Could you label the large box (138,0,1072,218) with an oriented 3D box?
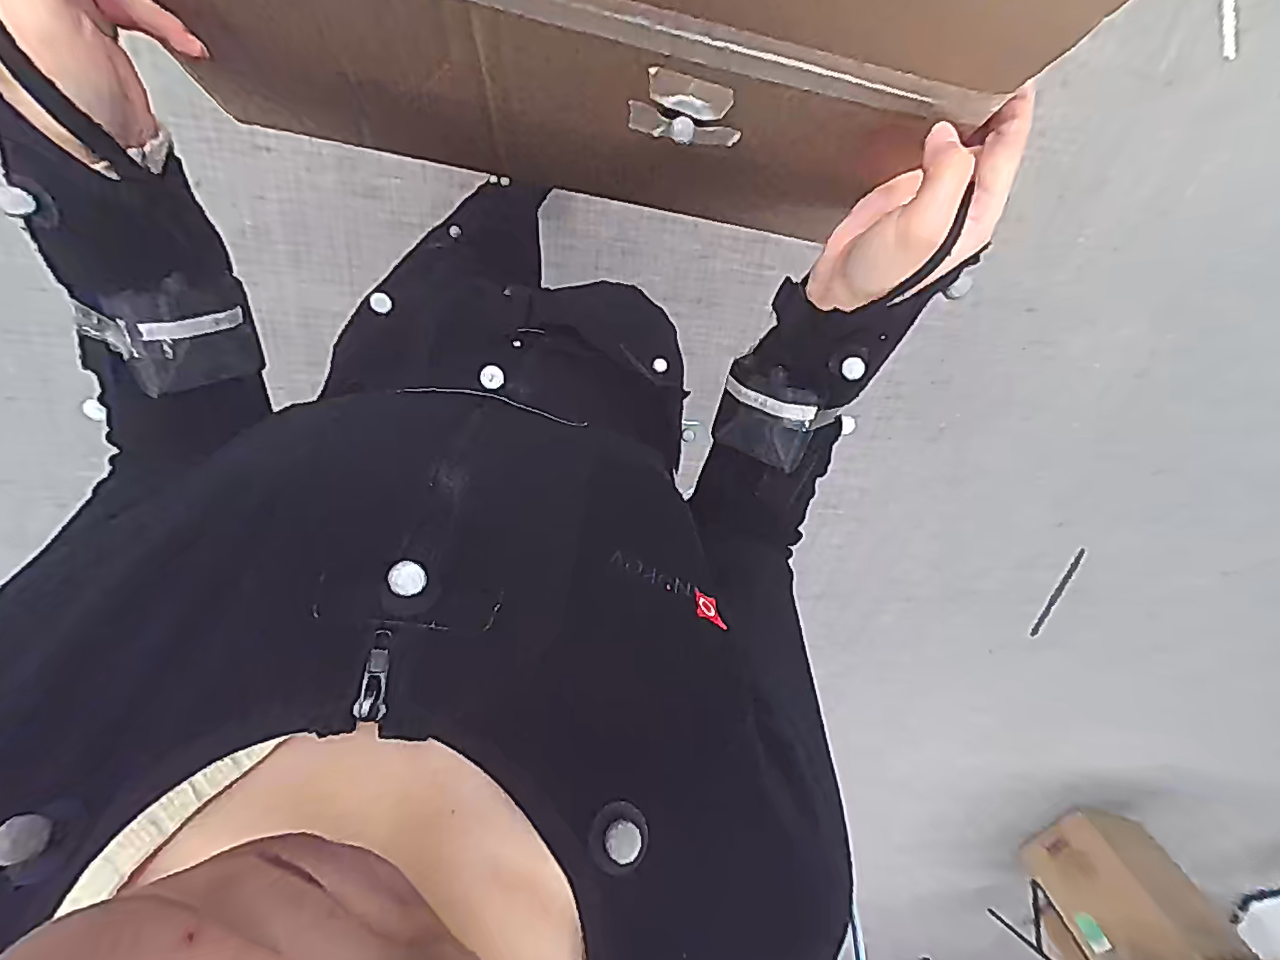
[{"bbox_3d":[-0.021,-0.358,0.217,0.408,0.320,0.320,7,92,-8],"label":"large box"}]
